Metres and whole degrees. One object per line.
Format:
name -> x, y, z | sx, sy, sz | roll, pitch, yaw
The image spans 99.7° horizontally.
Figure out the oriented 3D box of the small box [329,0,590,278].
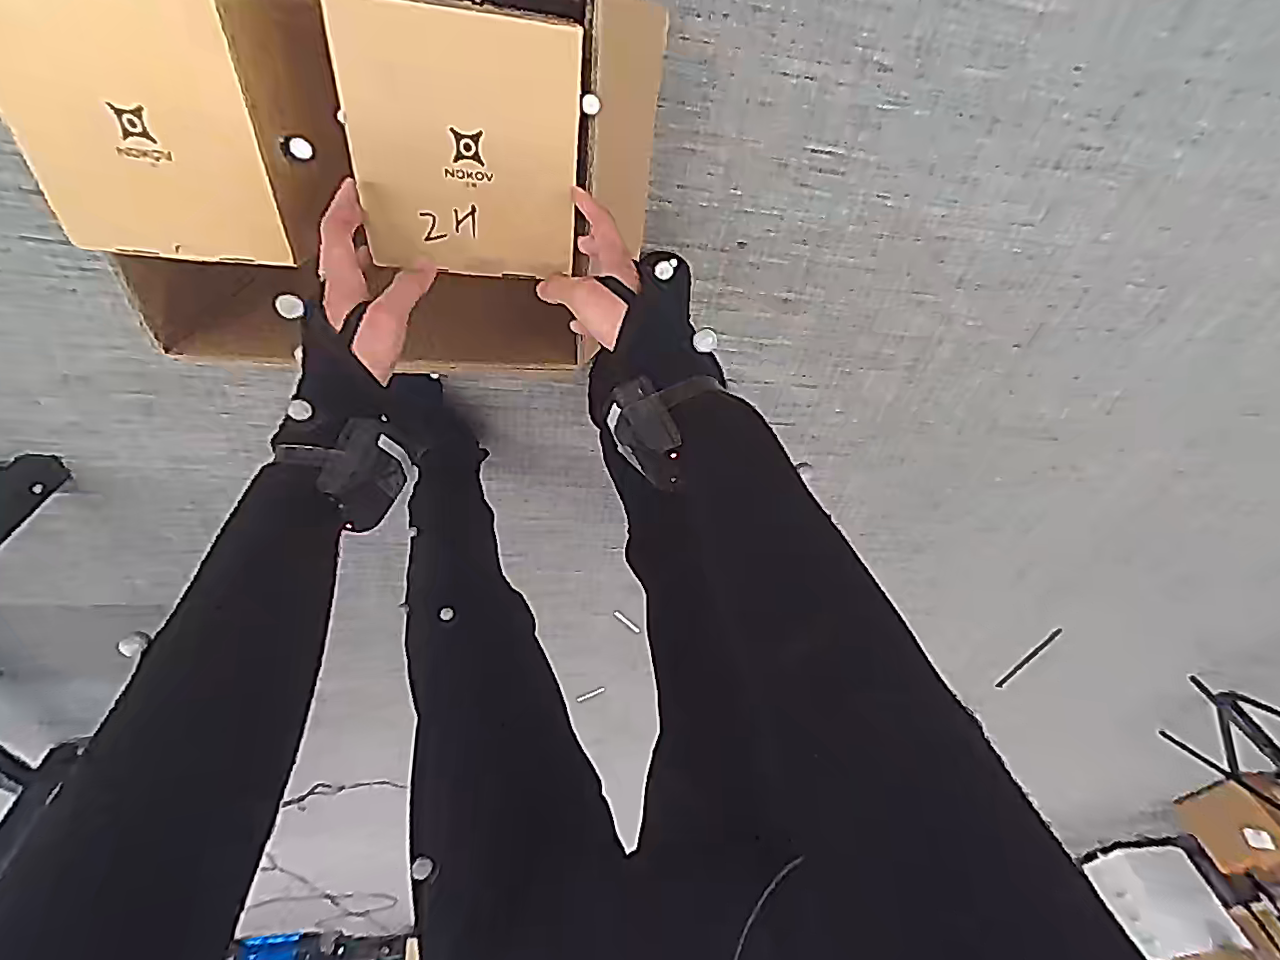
small box -> -0.134, -0.296, 0.457 | 0.168, 0.176, 0.179 | 3, 132, -9
